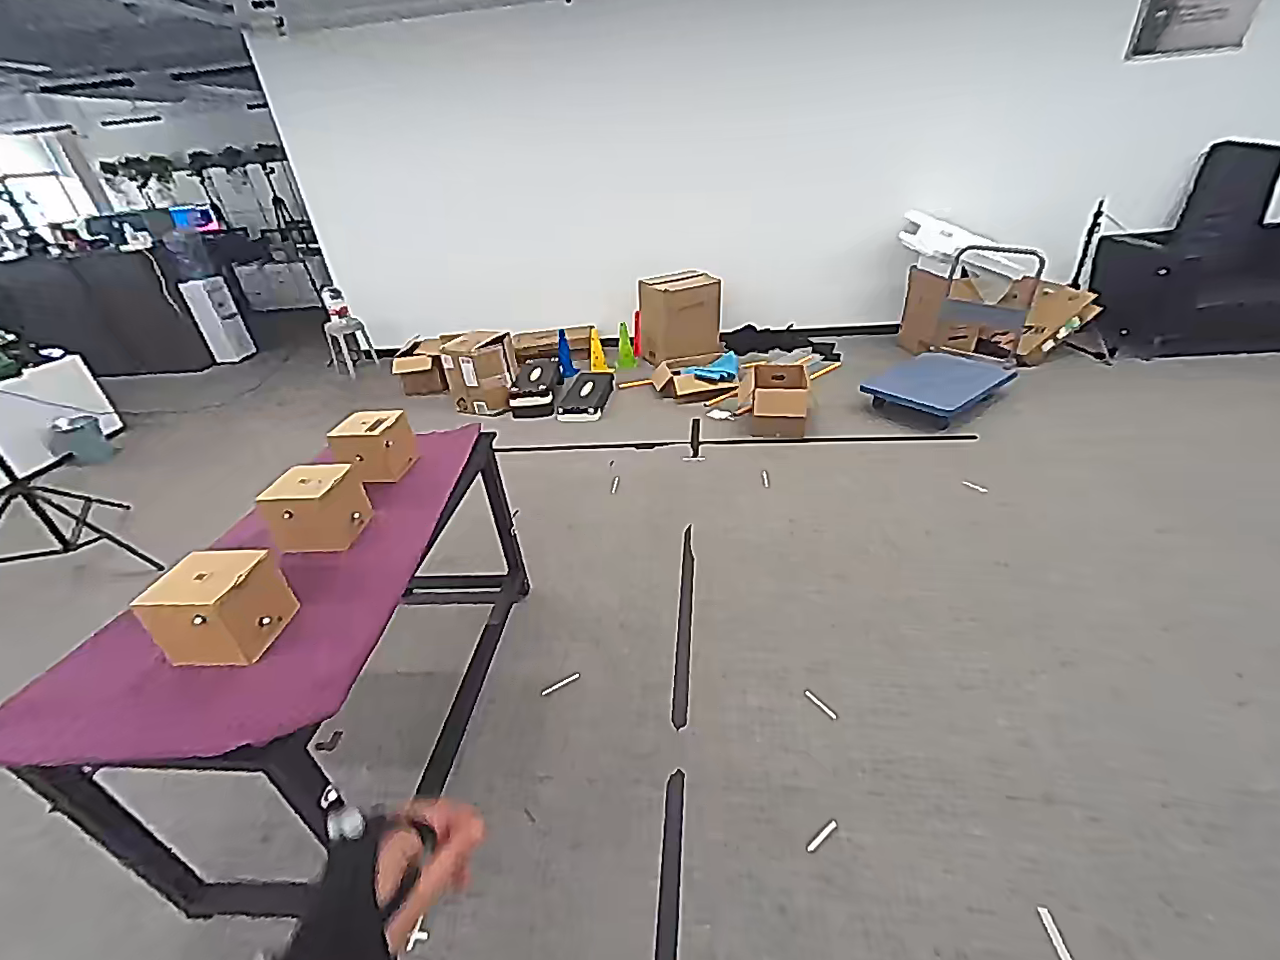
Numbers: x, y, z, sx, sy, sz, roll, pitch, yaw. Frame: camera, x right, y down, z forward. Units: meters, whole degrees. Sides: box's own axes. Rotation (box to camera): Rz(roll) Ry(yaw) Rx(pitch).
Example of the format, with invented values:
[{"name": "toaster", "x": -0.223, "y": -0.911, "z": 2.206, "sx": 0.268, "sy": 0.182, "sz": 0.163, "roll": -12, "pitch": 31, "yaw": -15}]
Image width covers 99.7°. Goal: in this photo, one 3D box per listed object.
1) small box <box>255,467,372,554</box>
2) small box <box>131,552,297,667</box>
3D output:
[{"name": "small box", "x": -0.842, "y": 0.080, "z": 1.414, "sx": 0.179, "sy": 0.176, "sz": 0.168, "roll": -2, "pitch": 32, "yaw": 5}, {"name": "small box", "x": -0.862, "y": 0.267, "z": 1.115, "sx": 0.179, "sy": 0.176, "sz": 0.168, "roll": -2, "pitch": 31, "yaw": 4}]
